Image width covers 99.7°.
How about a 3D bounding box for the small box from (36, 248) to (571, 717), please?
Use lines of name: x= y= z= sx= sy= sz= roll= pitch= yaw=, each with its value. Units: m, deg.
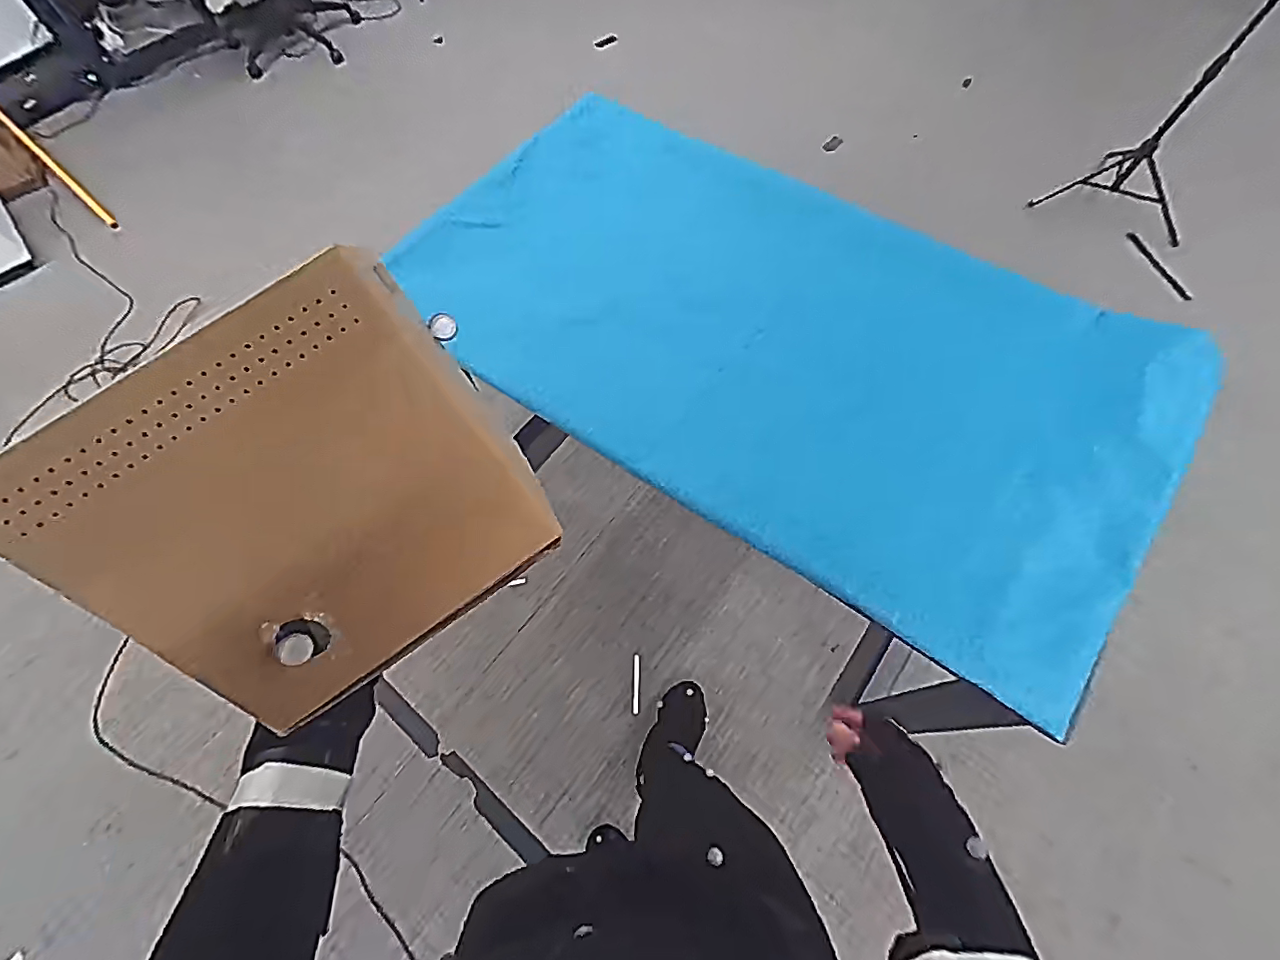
small box: x=-0.172 y=-0.012 z=0.317 sx=0.179 sy=0.176 sz=0.168 roll=-35 pitch=30 yaw=-5
